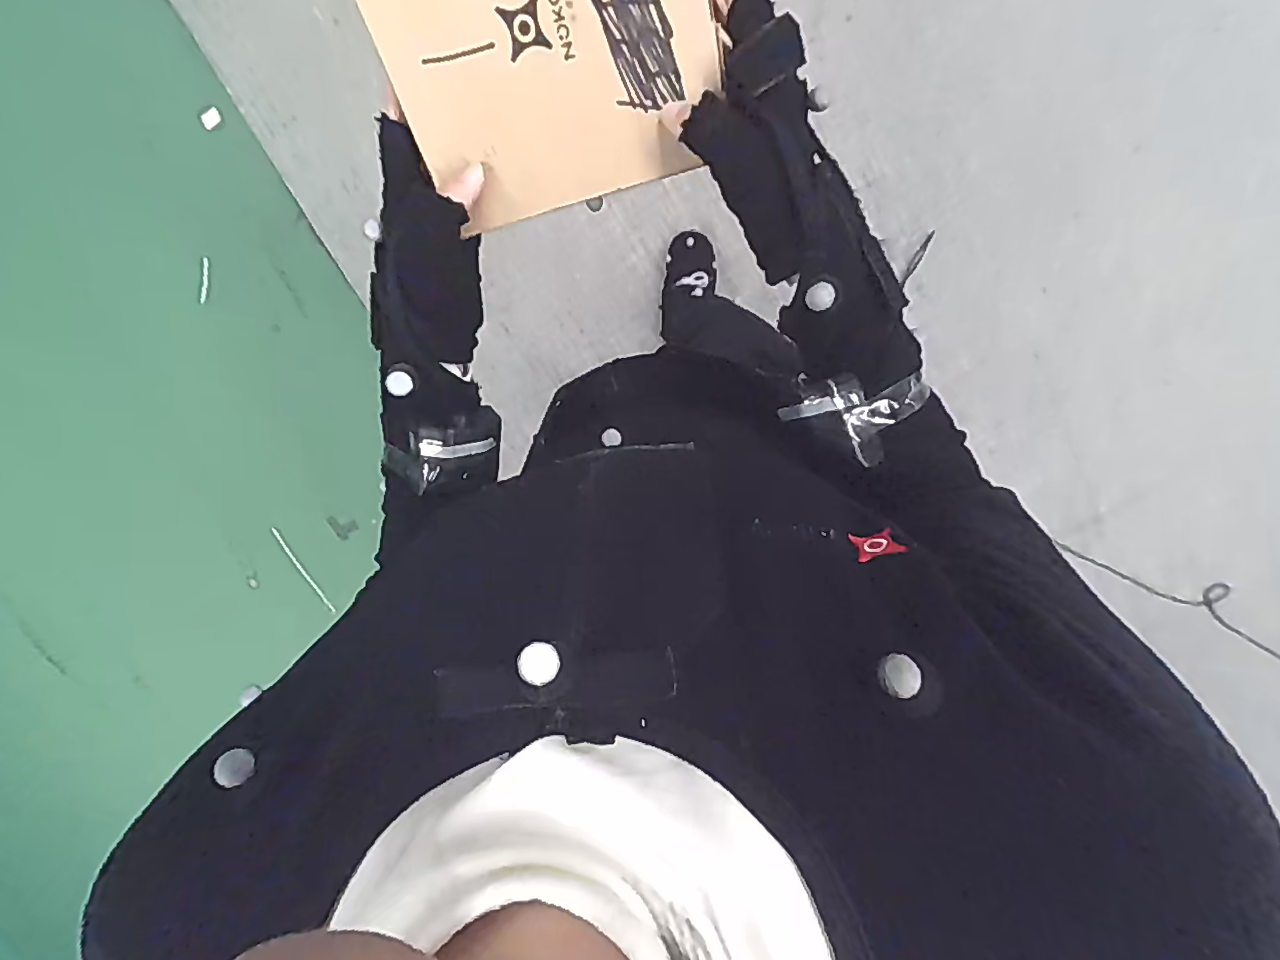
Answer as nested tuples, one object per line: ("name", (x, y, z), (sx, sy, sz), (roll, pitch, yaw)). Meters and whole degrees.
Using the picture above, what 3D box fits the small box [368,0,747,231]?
("small box", (-0.045, -0.285, 0.342), (0.179, 0.176, 0.168), (-15, 124, 11))
